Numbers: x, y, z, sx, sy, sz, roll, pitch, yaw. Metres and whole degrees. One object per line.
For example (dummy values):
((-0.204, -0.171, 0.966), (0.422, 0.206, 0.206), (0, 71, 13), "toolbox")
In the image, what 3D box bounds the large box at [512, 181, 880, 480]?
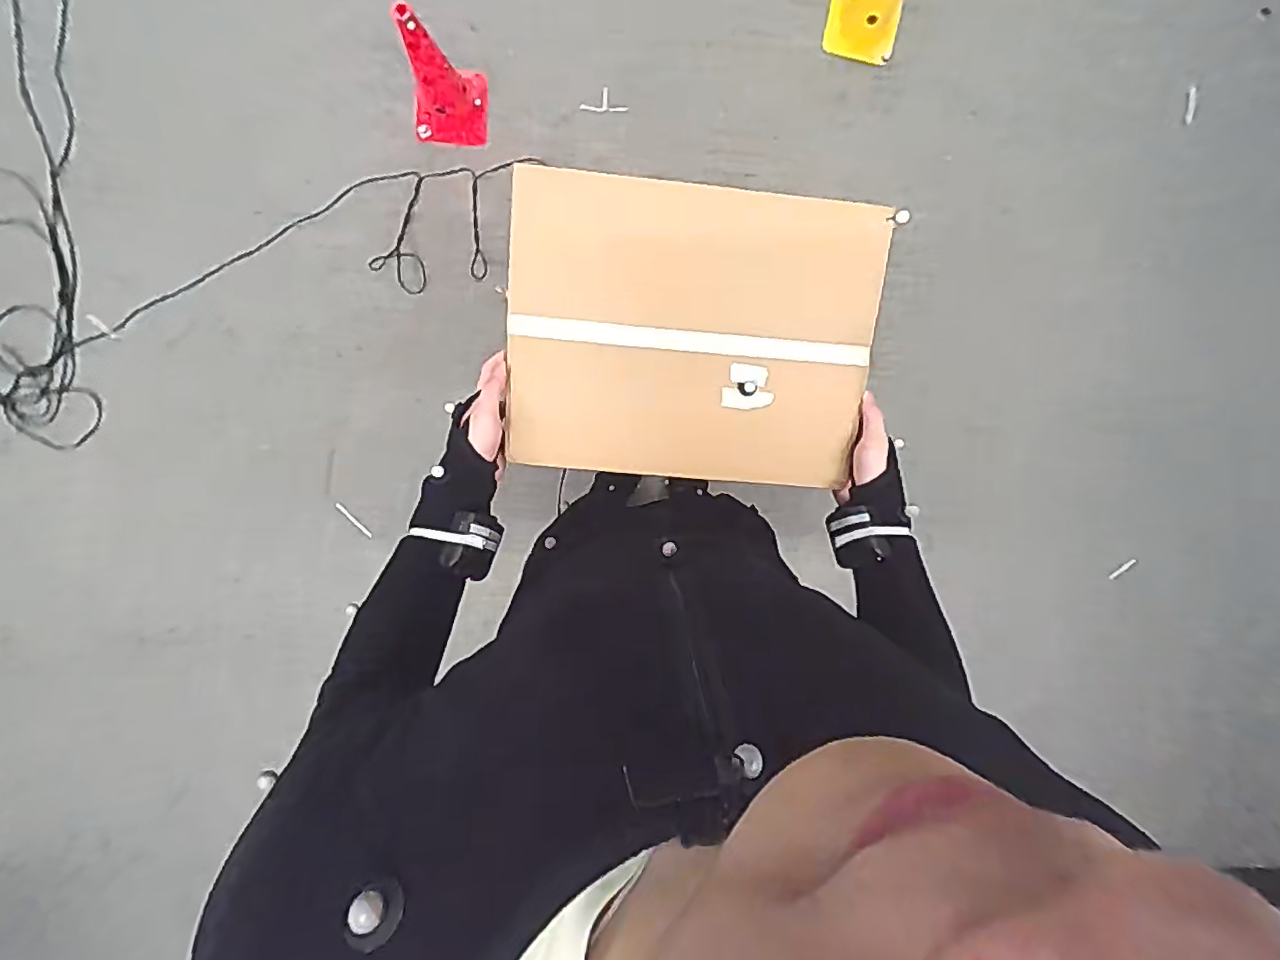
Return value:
((0.047, -0.187, 0.753), (0.408, 0.320, 0.320), (3, 104, -4), "large box")
